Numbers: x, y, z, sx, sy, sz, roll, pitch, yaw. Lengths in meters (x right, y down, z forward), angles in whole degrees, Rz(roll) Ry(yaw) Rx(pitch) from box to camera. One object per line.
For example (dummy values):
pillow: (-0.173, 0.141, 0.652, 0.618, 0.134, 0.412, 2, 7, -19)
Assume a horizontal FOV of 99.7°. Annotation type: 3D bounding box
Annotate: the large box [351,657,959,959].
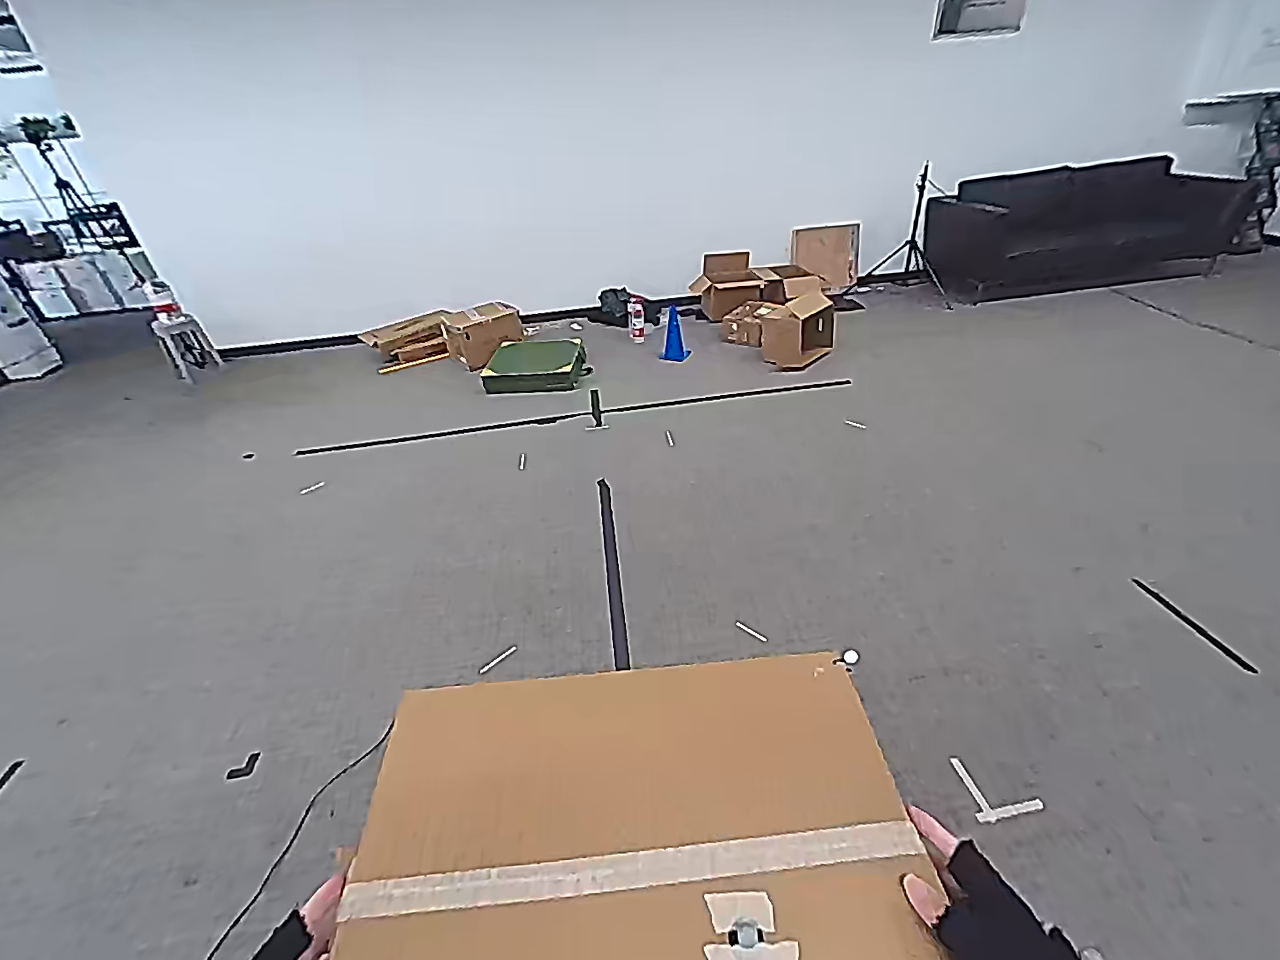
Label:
large box: (0.006, 0.398, 0.486, 0.408, 0.320, 0.320, -4, 39, -3)
